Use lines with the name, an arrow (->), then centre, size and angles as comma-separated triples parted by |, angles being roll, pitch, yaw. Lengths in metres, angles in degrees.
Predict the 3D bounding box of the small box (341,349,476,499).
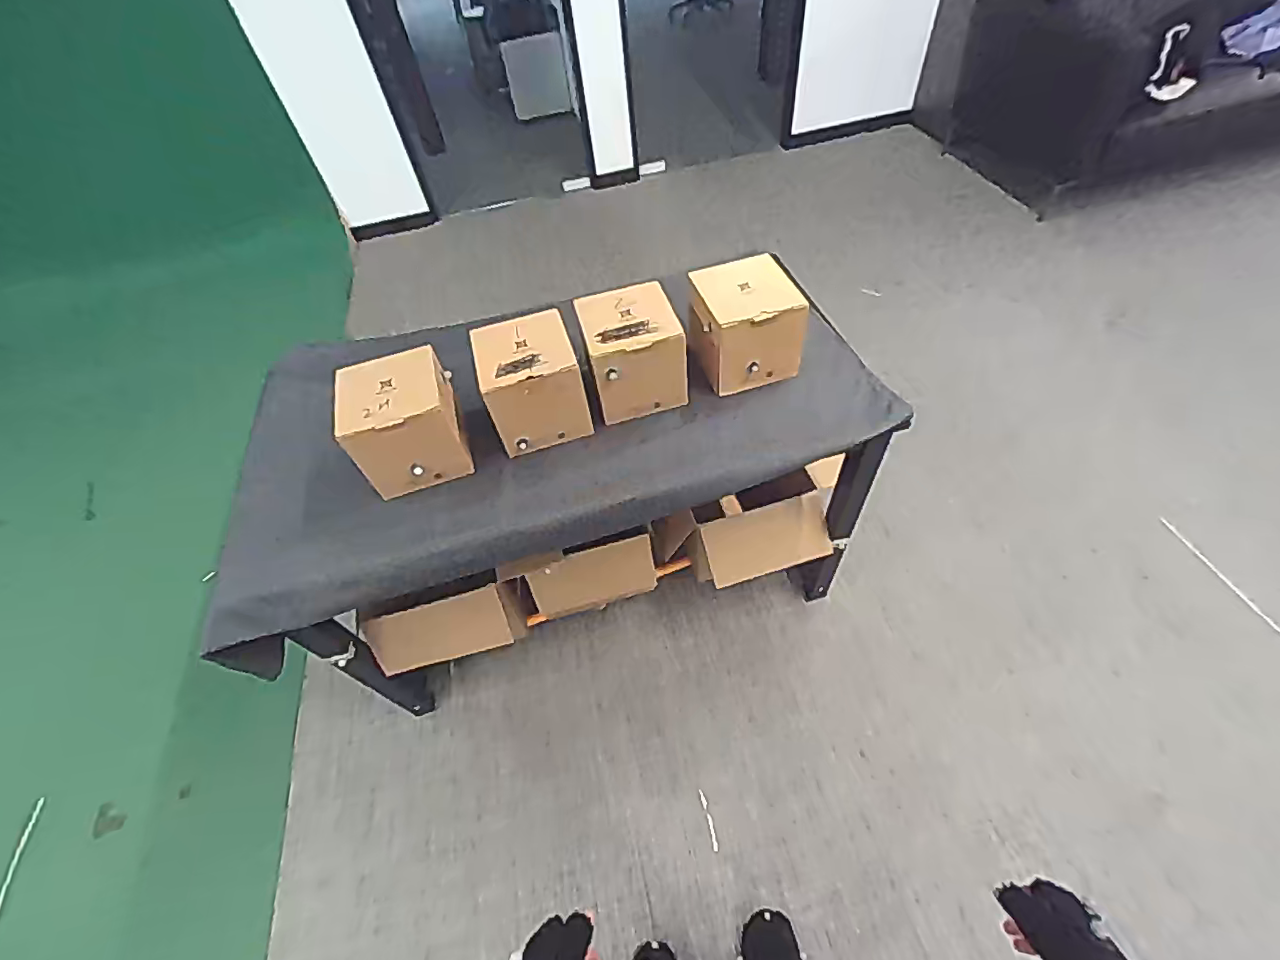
small box -> -0.406, -0.097, 0.961 | 0.168, 0.176, 0.179 | -19, 53, -7

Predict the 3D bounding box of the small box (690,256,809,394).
small box -> 0.199, -0.296, 1.039 | 0.168, 0.176, 0.179 | -16, 53, -5
